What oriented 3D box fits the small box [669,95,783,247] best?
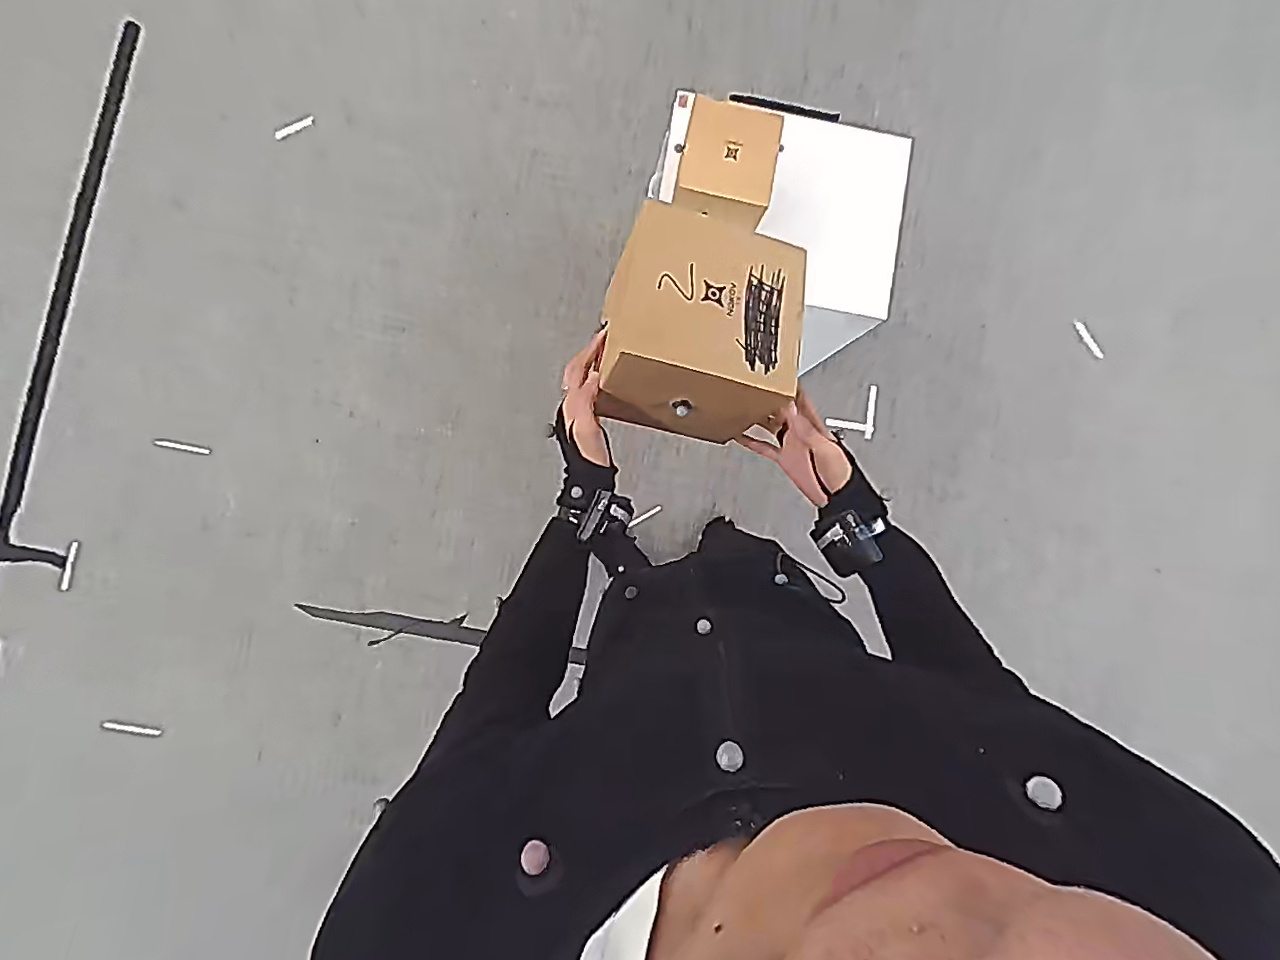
[{"bbox_3d":[0.153,-0.571,1.024,0.168,0.176,0.179,10,86,-4],"label":"small box"}]
